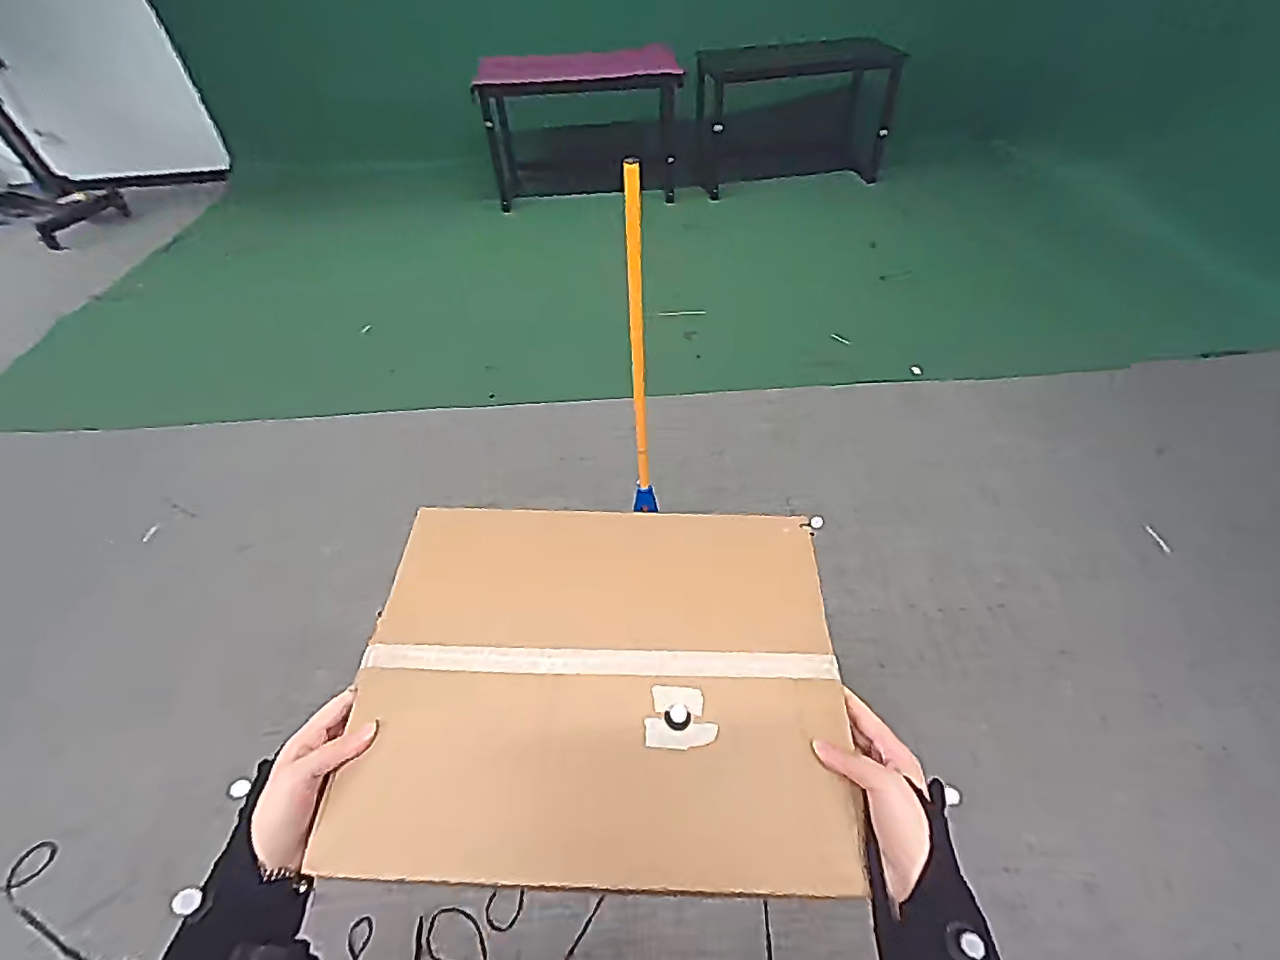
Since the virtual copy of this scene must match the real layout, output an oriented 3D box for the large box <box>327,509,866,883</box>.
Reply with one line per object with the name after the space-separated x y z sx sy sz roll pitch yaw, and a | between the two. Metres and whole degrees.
-0.032 0.248 0.599 0.408 0.320 0.320 2 53 0 | large box
